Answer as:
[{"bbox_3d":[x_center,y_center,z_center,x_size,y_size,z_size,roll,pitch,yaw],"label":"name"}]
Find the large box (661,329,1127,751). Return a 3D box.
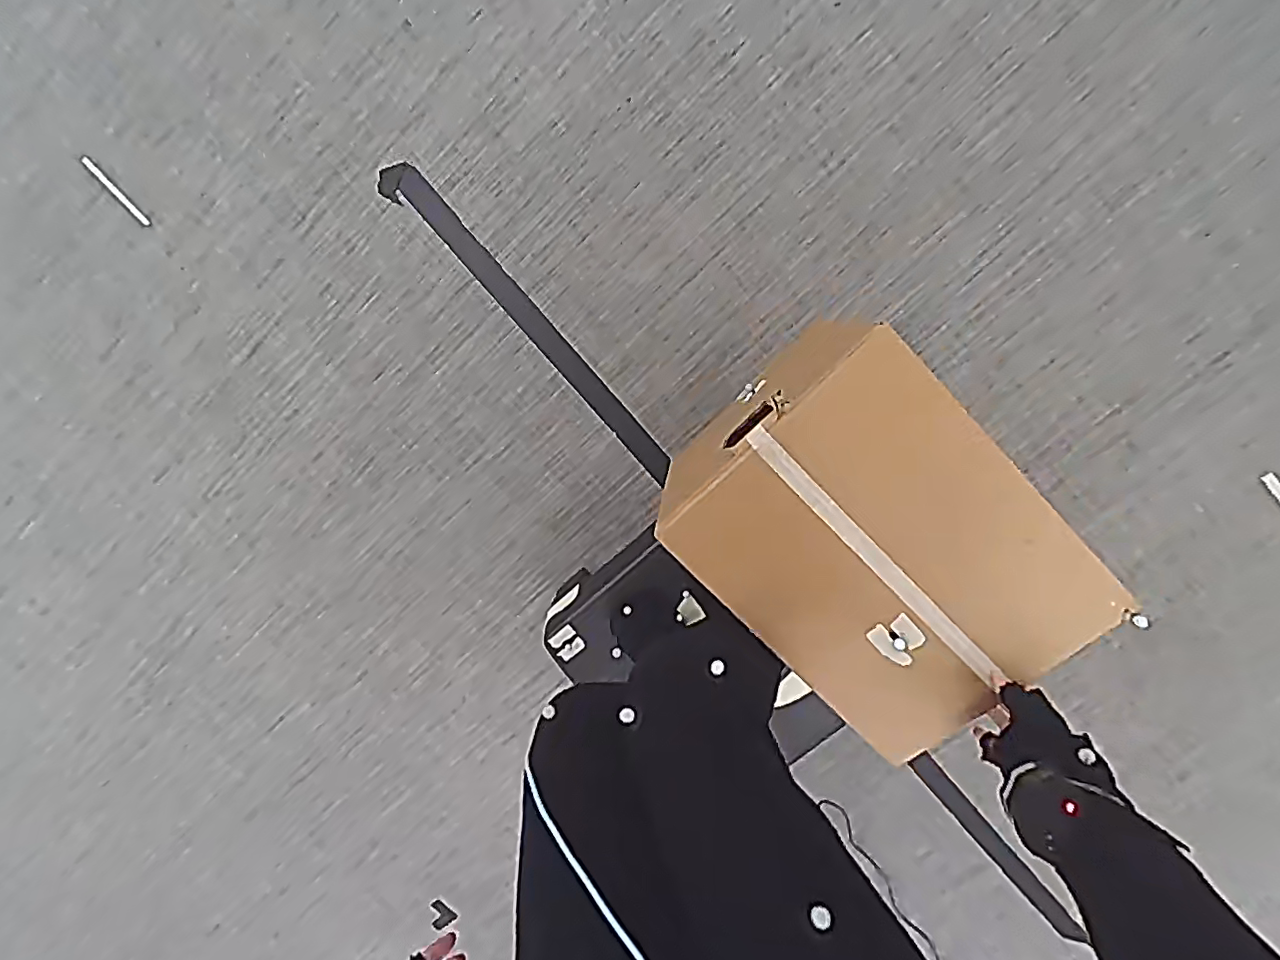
[{"bbox_3d":[0.278,0.049,0.723,0.408,0.320,0.320,43,107,-8],"label":"large box"}]
